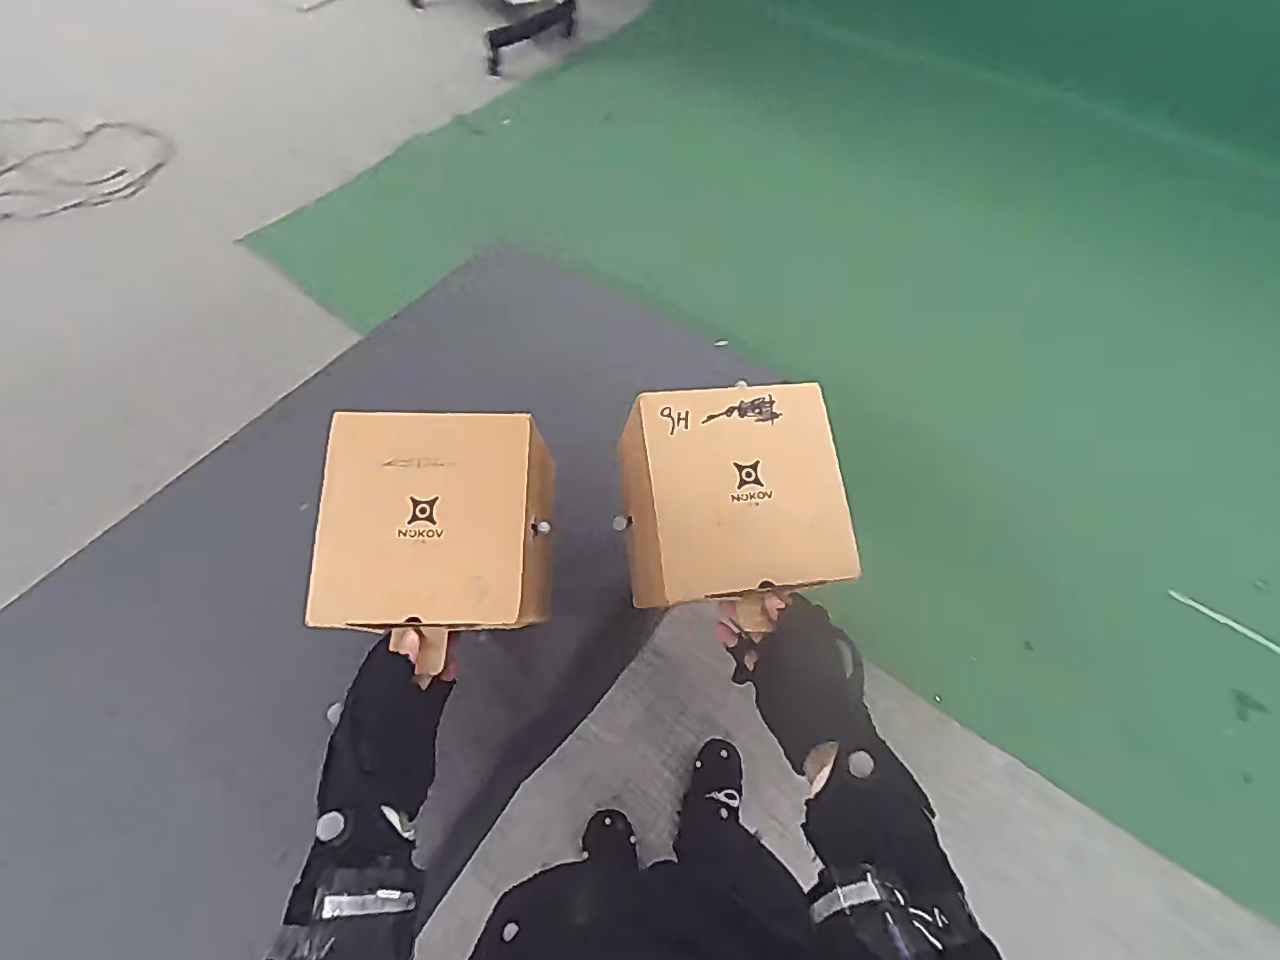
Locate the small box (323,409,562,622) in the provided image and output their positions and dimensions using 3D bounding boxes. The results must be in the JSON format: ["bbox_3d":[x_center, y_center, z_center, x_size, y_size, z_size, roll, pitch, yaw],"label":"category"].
[{"bbox_3d":[-0.168,0.043,0.519,0.168,0.176,0.179,1,76,-2],"label":"small box"}]
